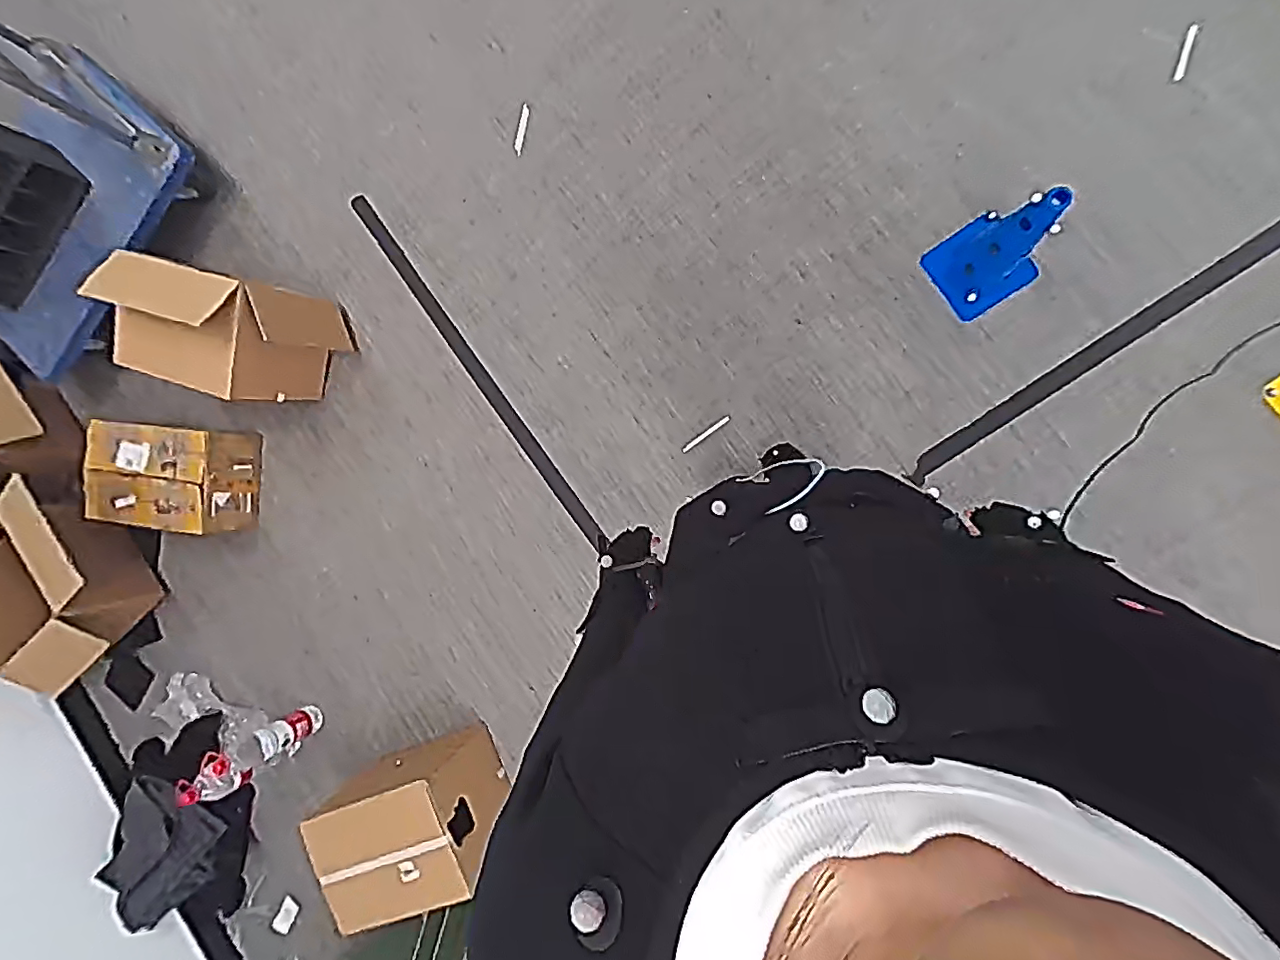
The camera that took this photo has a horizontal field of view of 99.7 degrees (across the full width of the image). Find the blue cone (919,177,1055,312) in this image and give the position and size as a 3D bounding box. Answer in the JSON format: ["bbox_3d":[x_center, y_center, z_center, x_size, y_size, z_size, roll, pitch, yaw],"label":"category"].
[{"bbox_3d":[0.766,-0.518,1.143,0.193,0.380,0.192,-32,85,11],"label":"blue cone"}]
